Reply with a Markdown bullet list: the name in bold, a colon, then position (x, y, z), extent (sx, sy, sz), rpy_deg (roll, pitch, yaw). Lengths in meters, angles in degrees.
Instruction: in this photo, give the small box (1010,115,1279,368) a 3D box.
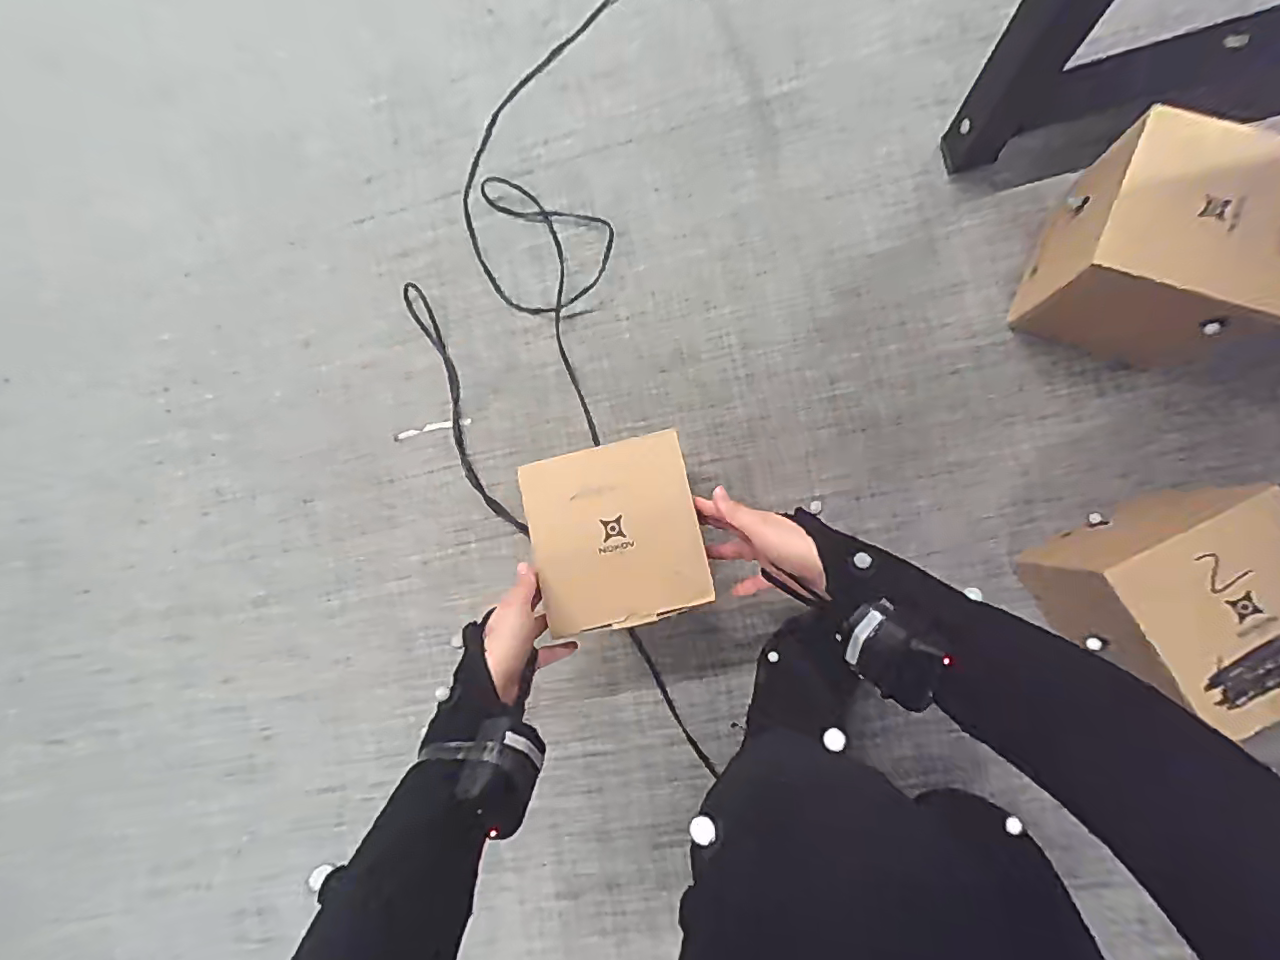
- **small box**: position (0.546, -0.238, 0.580), extent (0.179, 0.176, 0.168), rpy_deg (21, 88, 9)
